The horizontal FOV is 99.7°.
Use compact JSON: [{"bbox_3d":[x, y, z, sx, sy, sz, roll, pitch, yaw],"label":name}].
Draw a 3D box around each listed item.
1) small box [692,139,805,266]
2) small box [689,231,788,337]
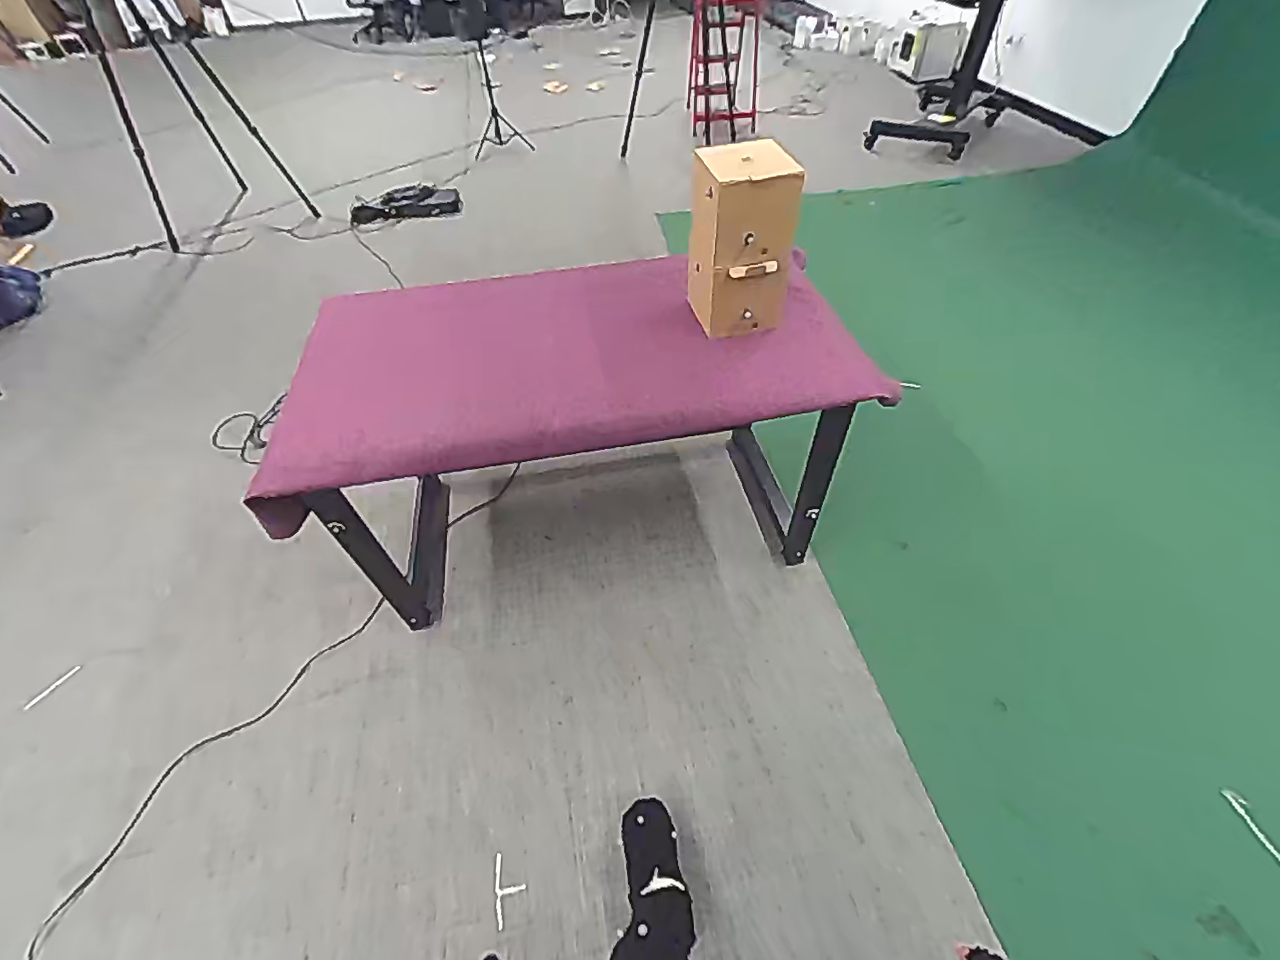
[{"bbox_3d":[0.205,-0.555,1.085,0.168,0.176,0.179,-11,51,-7],"label":"small box"},{"bbox_3d":[0.209,-0.446,1.207,0.168,0.176,0.179,-12,51,-6],"label":"small box"}]
